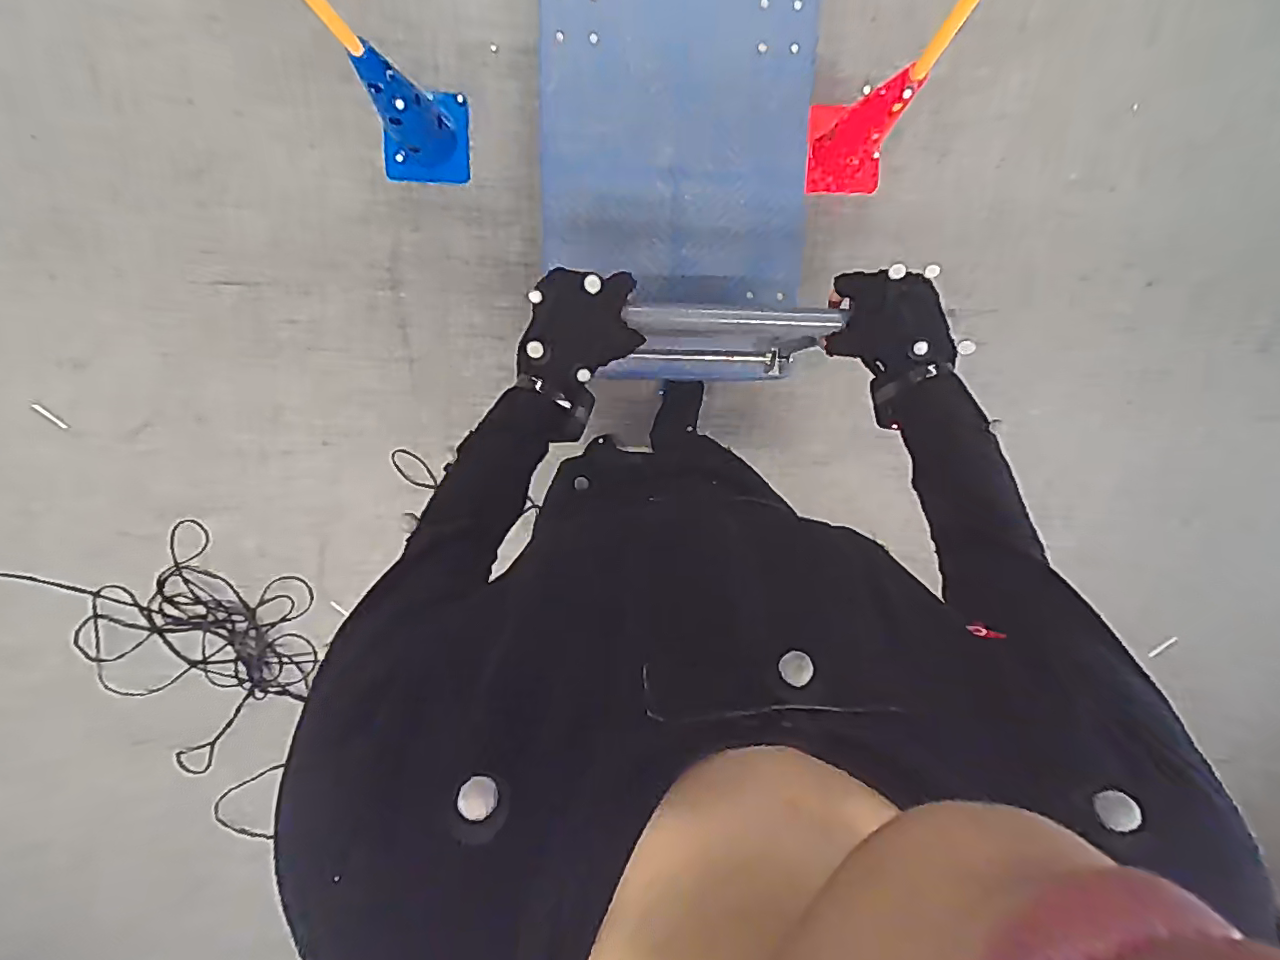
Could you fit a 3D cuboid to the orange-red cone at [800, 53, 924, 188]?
[{"bbox_3d":[0.503,-0.802,1.174,0.199,0.360,0.198,1,100,-1],"label":"orange-red cone"}]
